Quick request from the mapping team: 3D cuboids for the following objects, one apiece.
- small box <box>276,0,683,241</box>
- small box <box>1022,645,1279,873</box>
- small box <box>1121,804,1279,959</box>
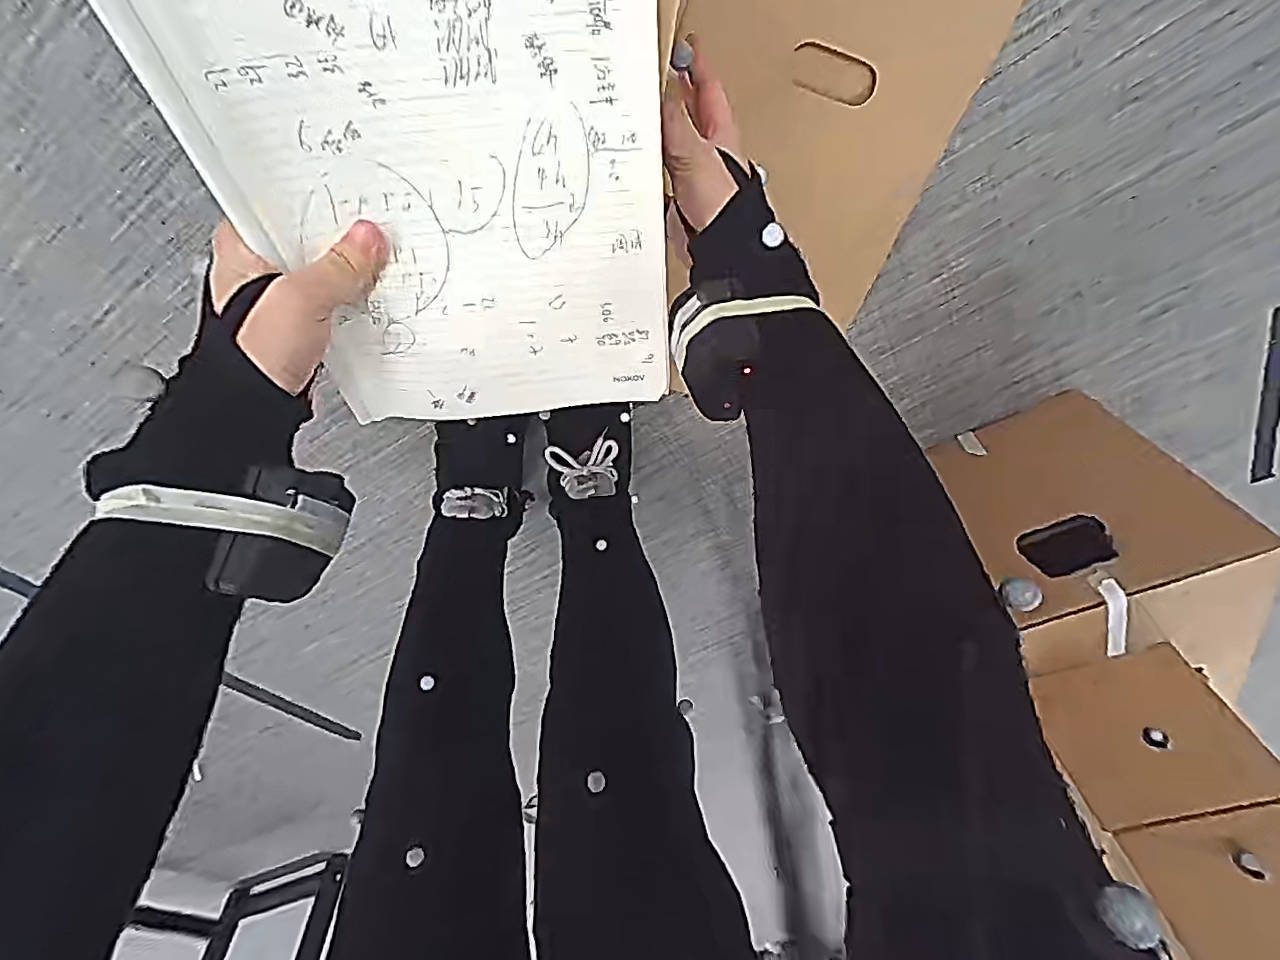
[{"bbox_3d":[-0.069,-0.250,0.280,0.168,0.176,0.179,4,128,-10],"label":"small box"},{"bbox_3d":[0.579,0.322,0.629,0.179,0.176,0.168,-23,127,14],"label":"small box"},{"bbox_3d":[0.596,0.422,0.500,0.179,0.176,0.168,-25,128,17],"label":"small box"}]
